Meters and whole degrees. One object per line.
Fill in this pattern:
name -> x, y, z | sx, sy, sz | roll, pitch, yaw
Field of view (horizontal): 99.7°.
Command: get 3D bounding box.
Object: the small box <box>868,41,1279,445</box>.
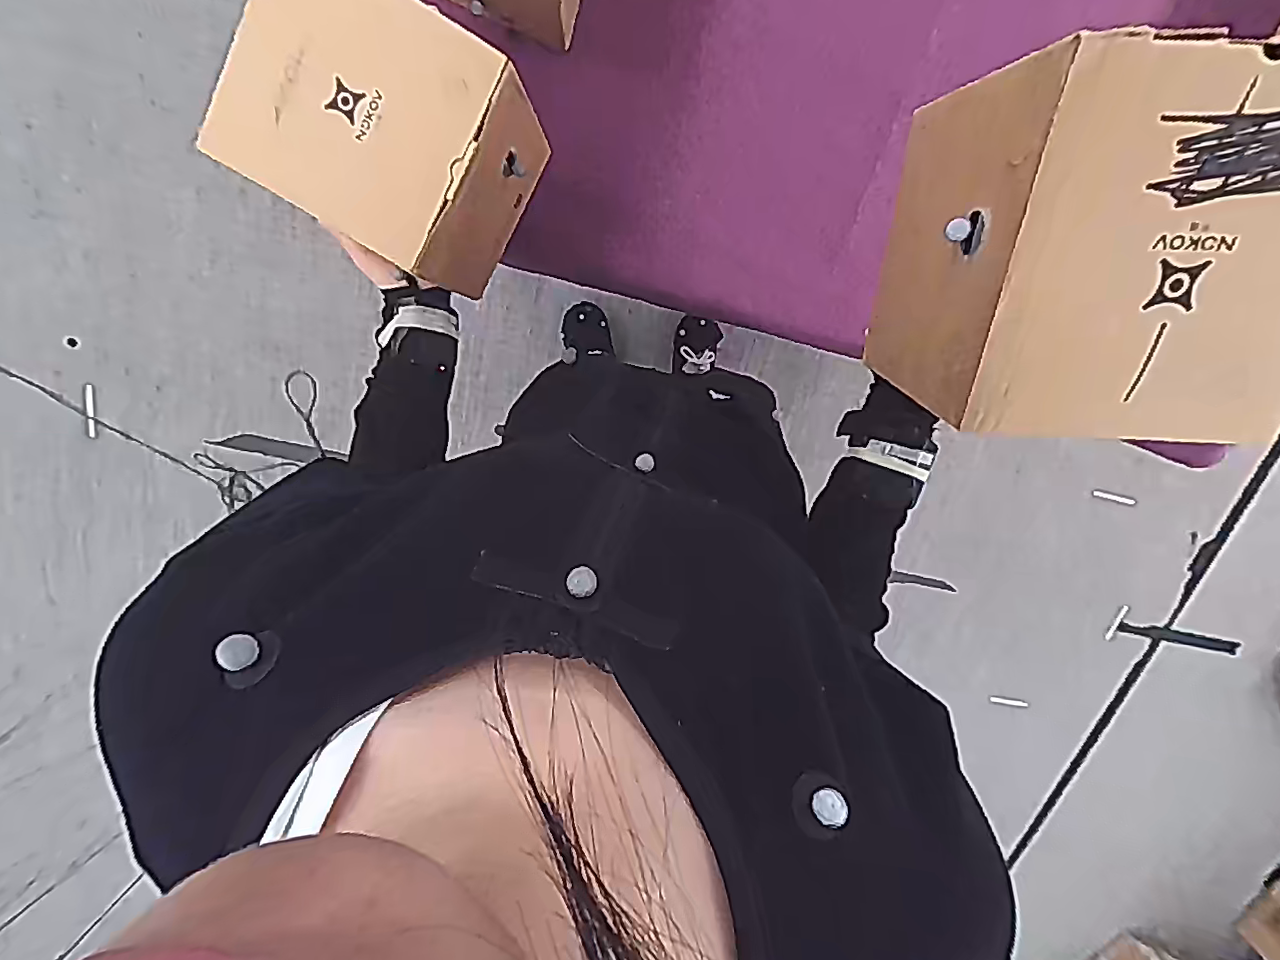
small box -> 0.262, -0.135, 0.335 | 0.168, 0.176, 0.179 | 3, 116, 1

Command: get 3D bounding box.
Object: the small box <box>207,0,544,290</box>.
small box -> -0.201, -0.282, 0.466 | 0.179, 0.176, 0.168 | 29, 99, -5
